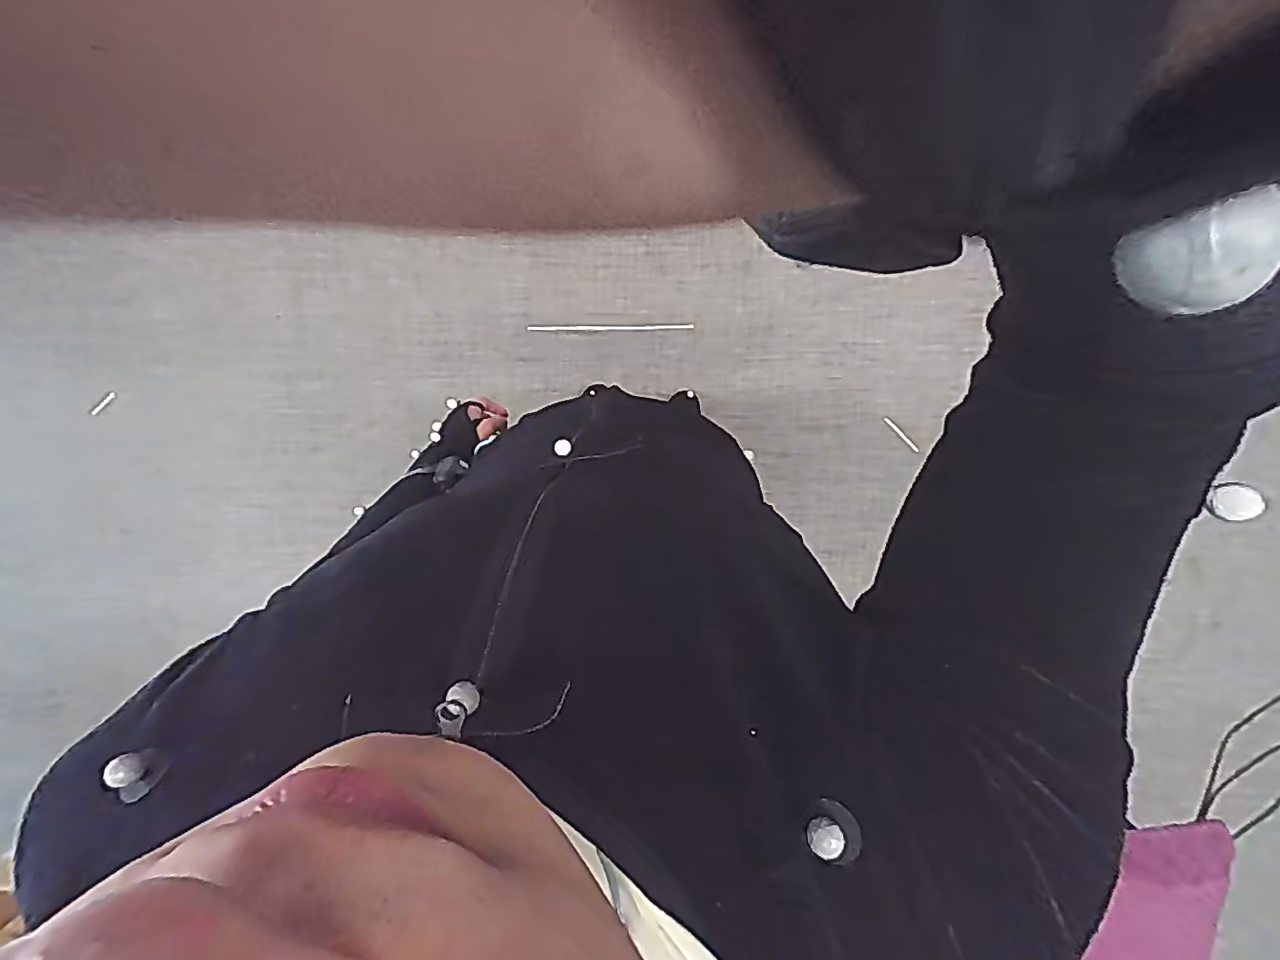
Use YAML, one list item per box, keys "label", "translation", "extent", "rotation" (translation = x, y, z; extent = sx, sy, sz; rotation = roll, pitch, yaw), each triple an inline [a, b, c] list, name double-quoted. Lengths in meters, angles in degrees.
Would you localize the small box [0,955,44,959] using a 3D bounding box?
- label: "small box"
  translation: [-1.426, 1.183, 1.164]
  extent: [0.168, 0.176, 0.179]
  rotation: [3, 97, -1]
